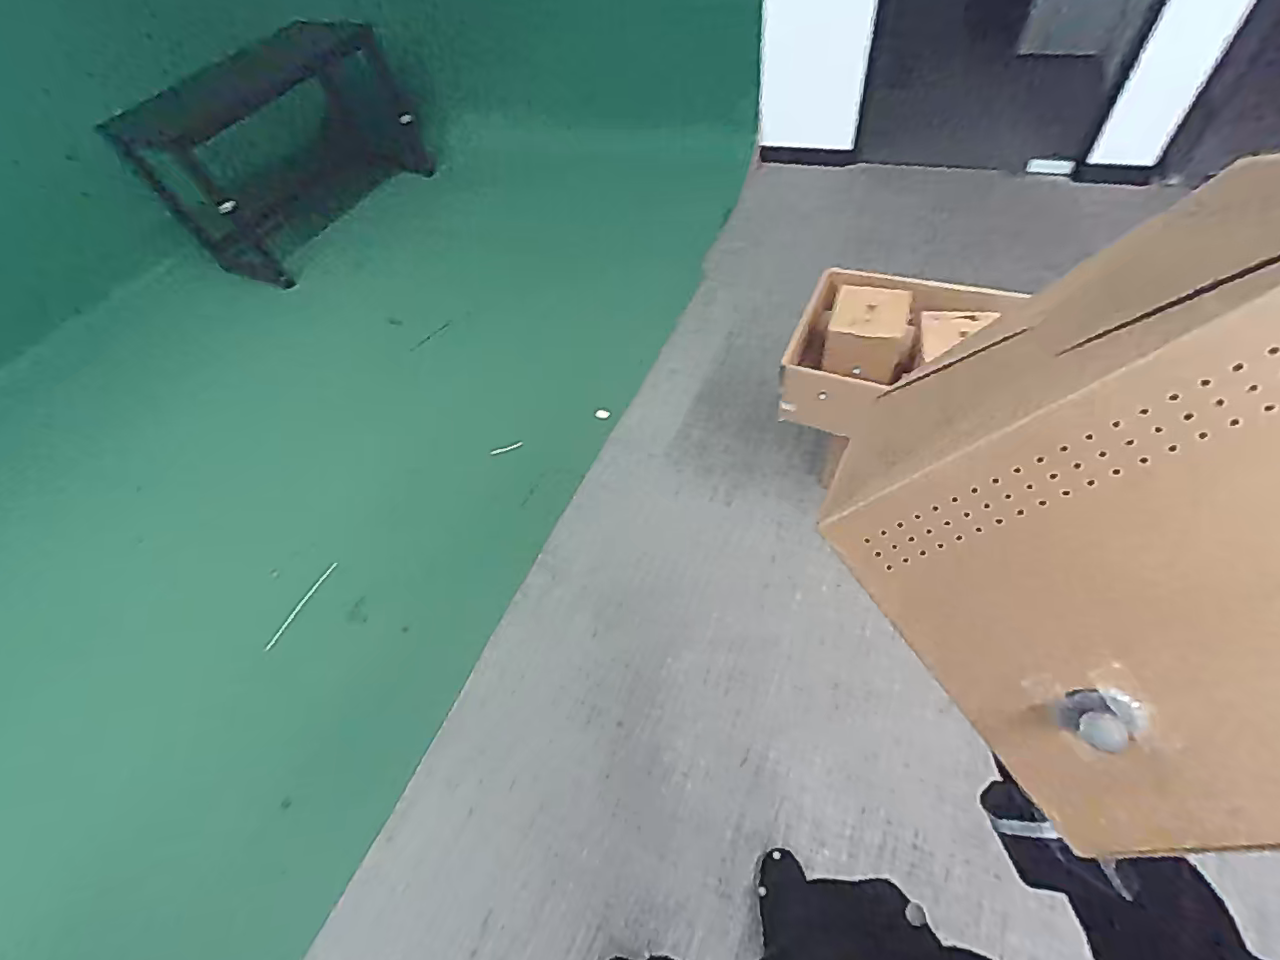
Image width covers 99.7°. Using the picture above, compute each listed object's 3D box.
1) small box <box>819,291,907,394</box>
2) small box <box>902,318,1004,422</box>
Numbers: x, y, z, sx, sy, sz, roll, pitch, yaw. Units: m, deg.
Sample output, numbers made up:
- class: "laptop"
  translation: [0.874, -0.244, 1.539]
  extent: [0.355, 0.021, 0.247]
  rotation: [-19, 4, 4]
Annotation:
- class: "small box"
  translation: [0.554, -0.344, 1.355]
  extent: [0.168, 0.176, 0.179]
  rotation: [13, 58, 19]
- class: "small box"
  translation: [0.721, -0.255, 1.264]
  extent: [0.168, 0.176, 0.179]
  rotation: [7, 57, 15]
